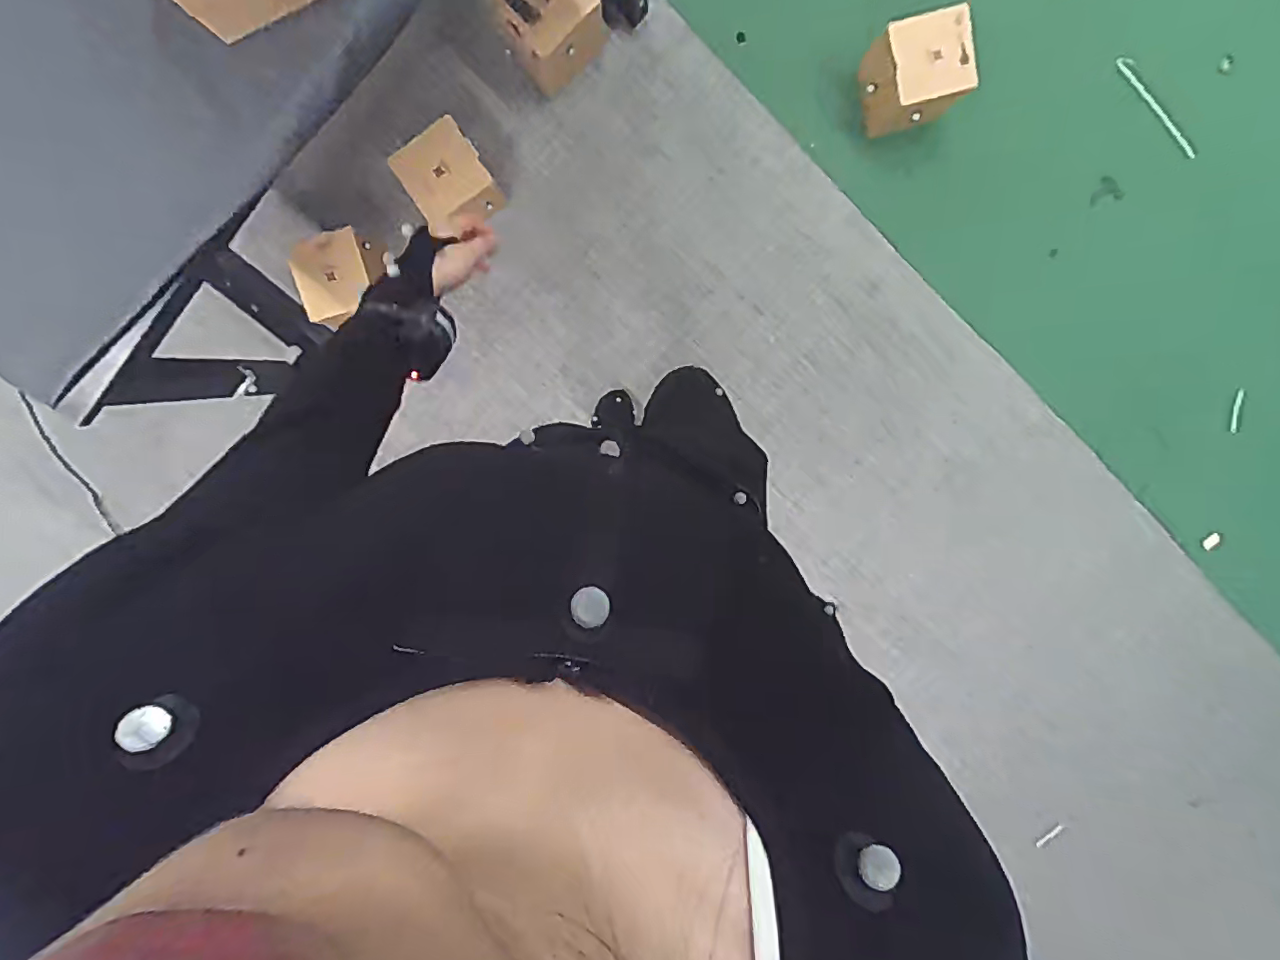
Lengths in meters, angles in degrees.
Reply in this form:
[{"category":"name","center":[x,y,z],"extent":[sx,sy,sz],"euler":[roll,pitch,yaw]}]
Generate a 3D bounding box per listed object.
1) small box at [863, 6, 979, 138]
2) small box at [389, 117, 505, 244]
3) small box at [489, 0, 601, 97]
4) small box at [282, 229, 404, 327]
[{"category":"small box","center":[0.626,-0.912,1.228],"extent":[0.179,0.176,0.168],"euler":[-14,101,2]},{"category":"small box","center":[-0.432,-0.682,1.253],"extent":[0.179,0.176,0.168],"euler":[-33,99,7]},{"category":"small box","center":[-0.198,-1.003,1.192],"extent":[0.179,0.176,0.168],"euler":[-42,99,6]},{"category":"small box","center":[-0.697,-0.471,1.292],"extent":[0.168,0.176,0.179],"euler":[-15,101,2]}]
